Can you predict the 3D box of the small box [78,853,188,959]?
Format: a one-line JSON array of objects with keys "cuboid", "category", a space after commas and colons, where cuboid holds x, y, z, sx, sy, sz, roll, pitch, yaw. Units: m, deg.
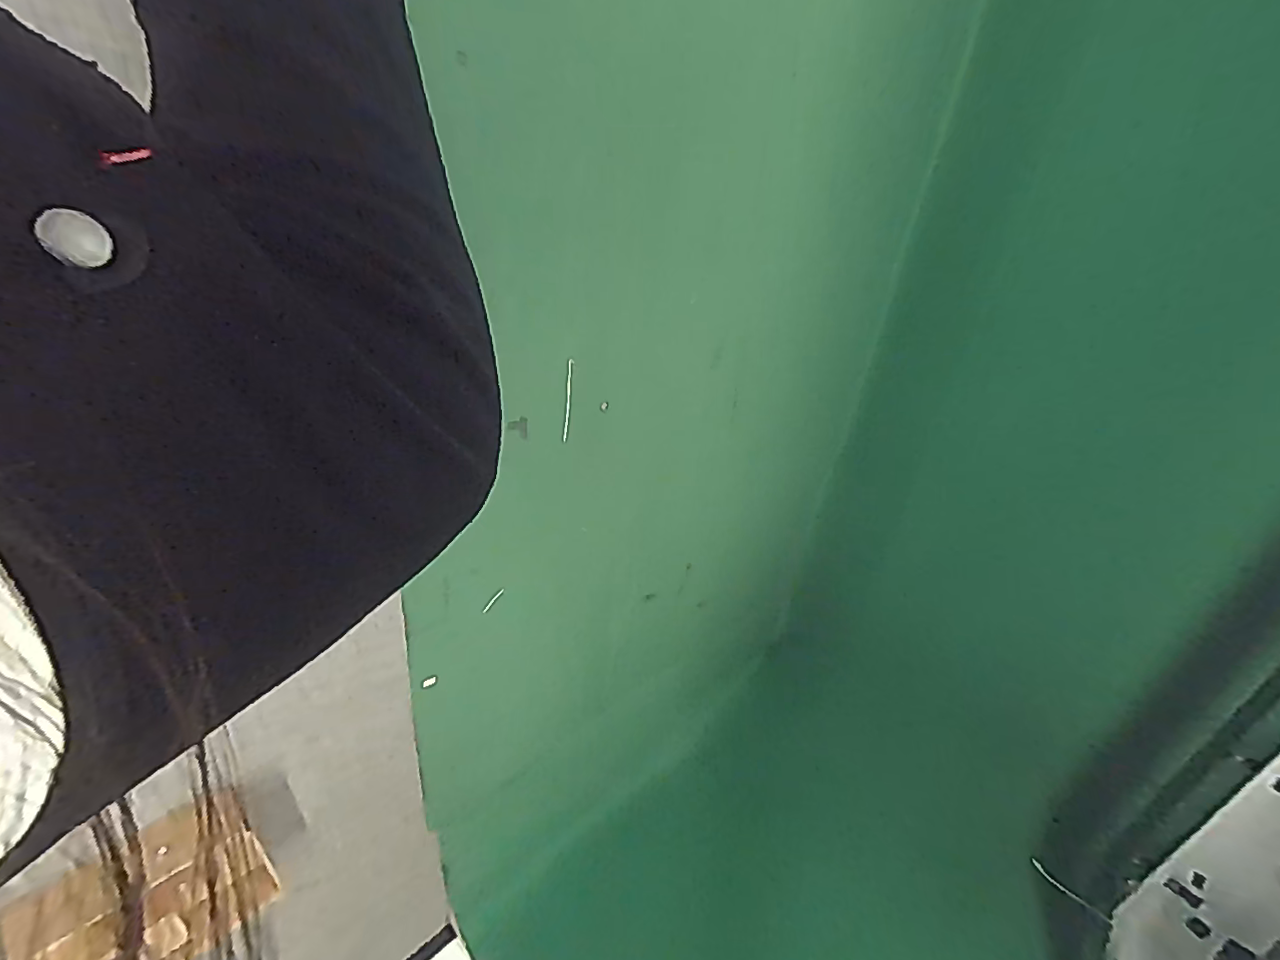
[{"cuboid": [-1.383, 1.182, 1.474, 0.179, 0.176, 0.168, -25, 134, -41], "category": "small box"}]
